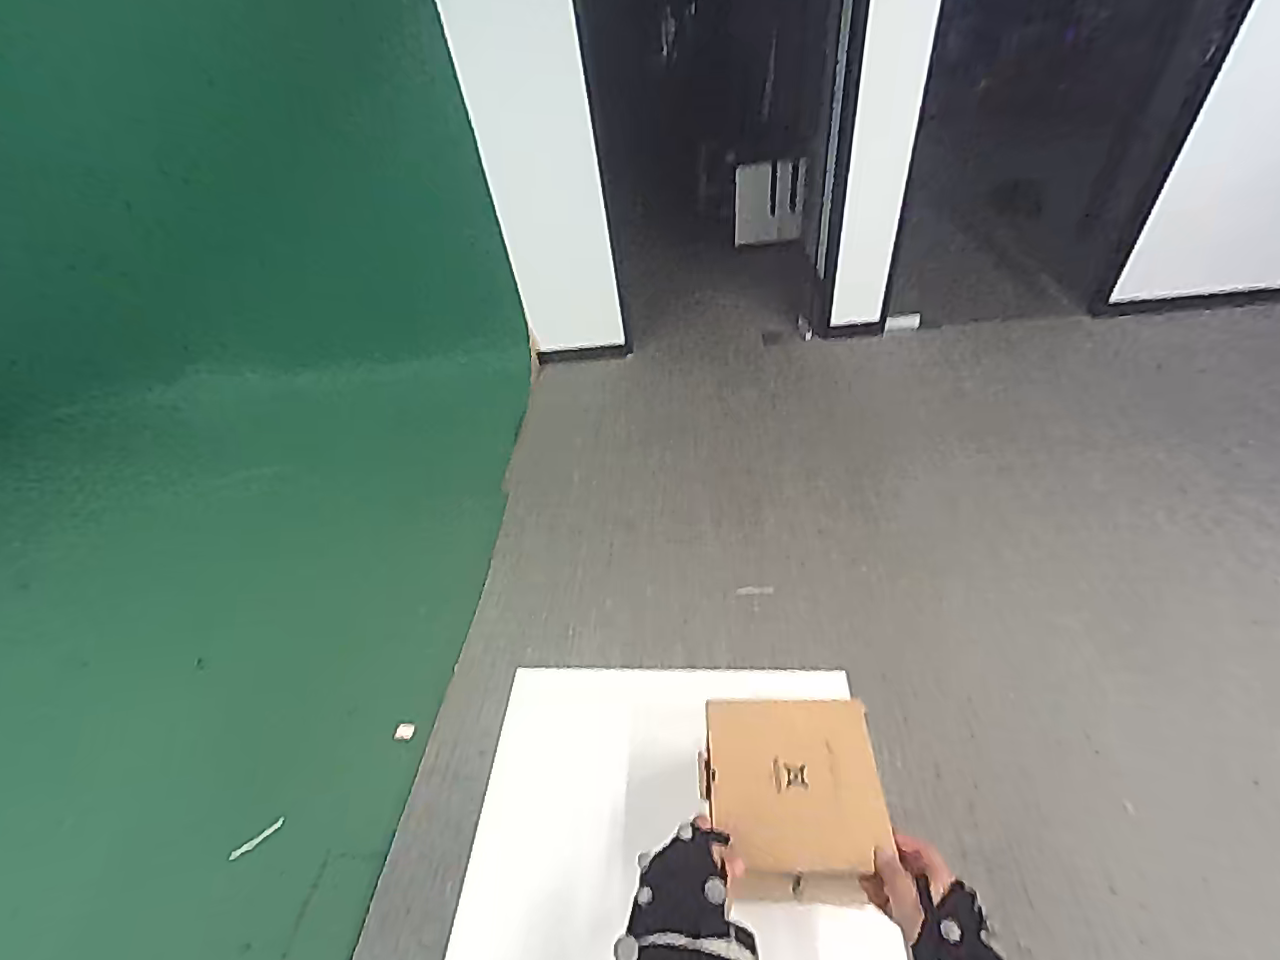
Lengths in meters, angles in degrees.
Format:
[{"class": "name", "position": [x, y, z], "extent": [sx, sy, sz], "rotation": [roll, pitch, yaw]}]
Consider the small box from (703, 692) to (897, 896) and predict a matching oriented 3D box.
[{"class": "small box", "position": [0.166, 0.358, 0.617], "extent": [0.179, 0.176, 0.168], "rotation": [-3, 45, 6]}]
